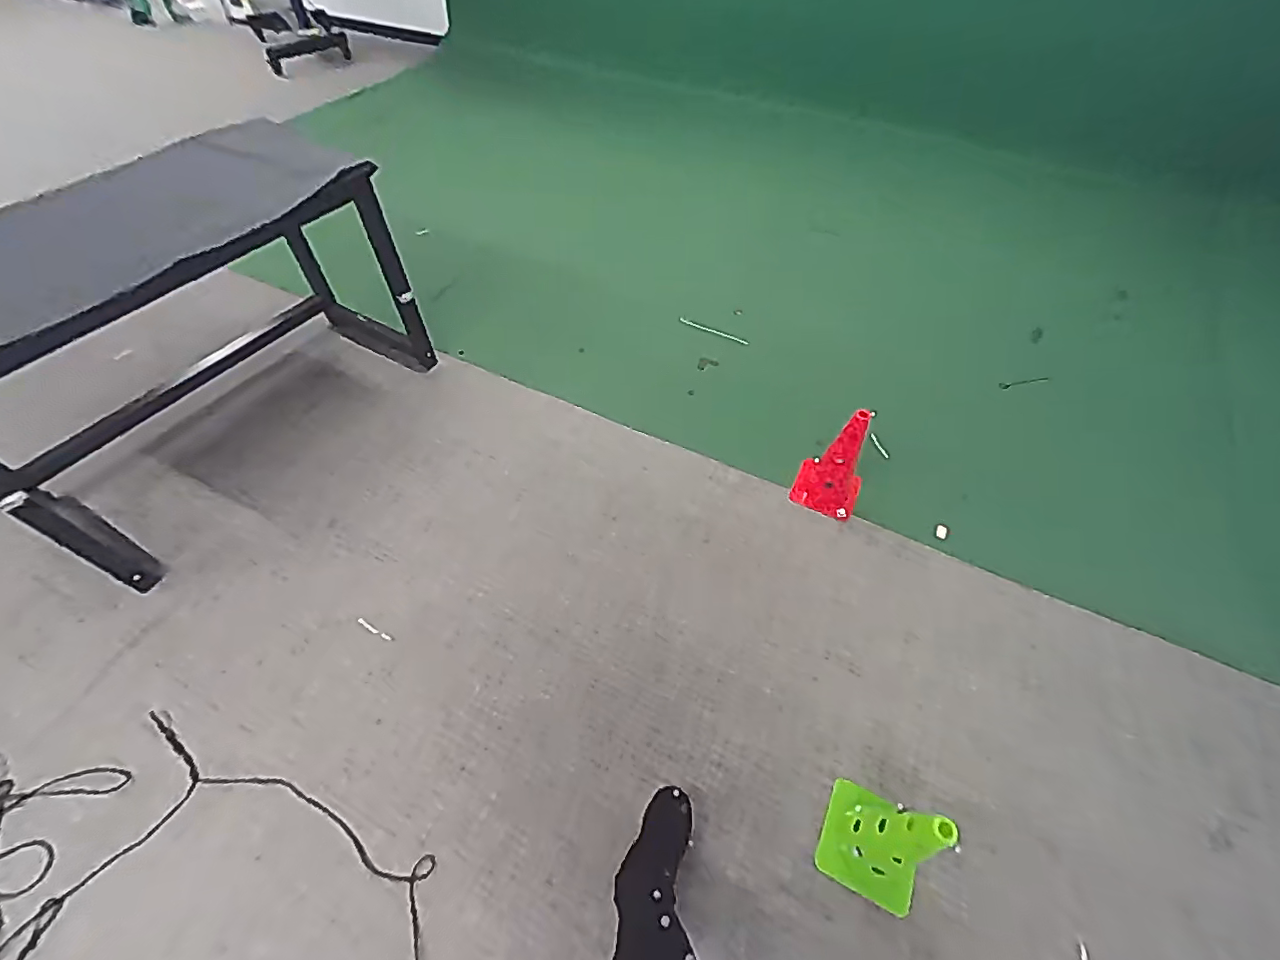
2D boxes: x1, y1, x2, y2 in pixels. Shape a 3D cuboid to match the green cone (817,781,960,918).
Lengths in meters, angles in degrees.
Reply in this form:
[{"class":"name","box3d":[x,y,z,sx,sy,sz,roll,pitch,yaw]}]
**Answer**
[{"class":"green cone","box3d":[0.507,0.697,1.045,0.200,0.368,0.202,22,56,15]}]
